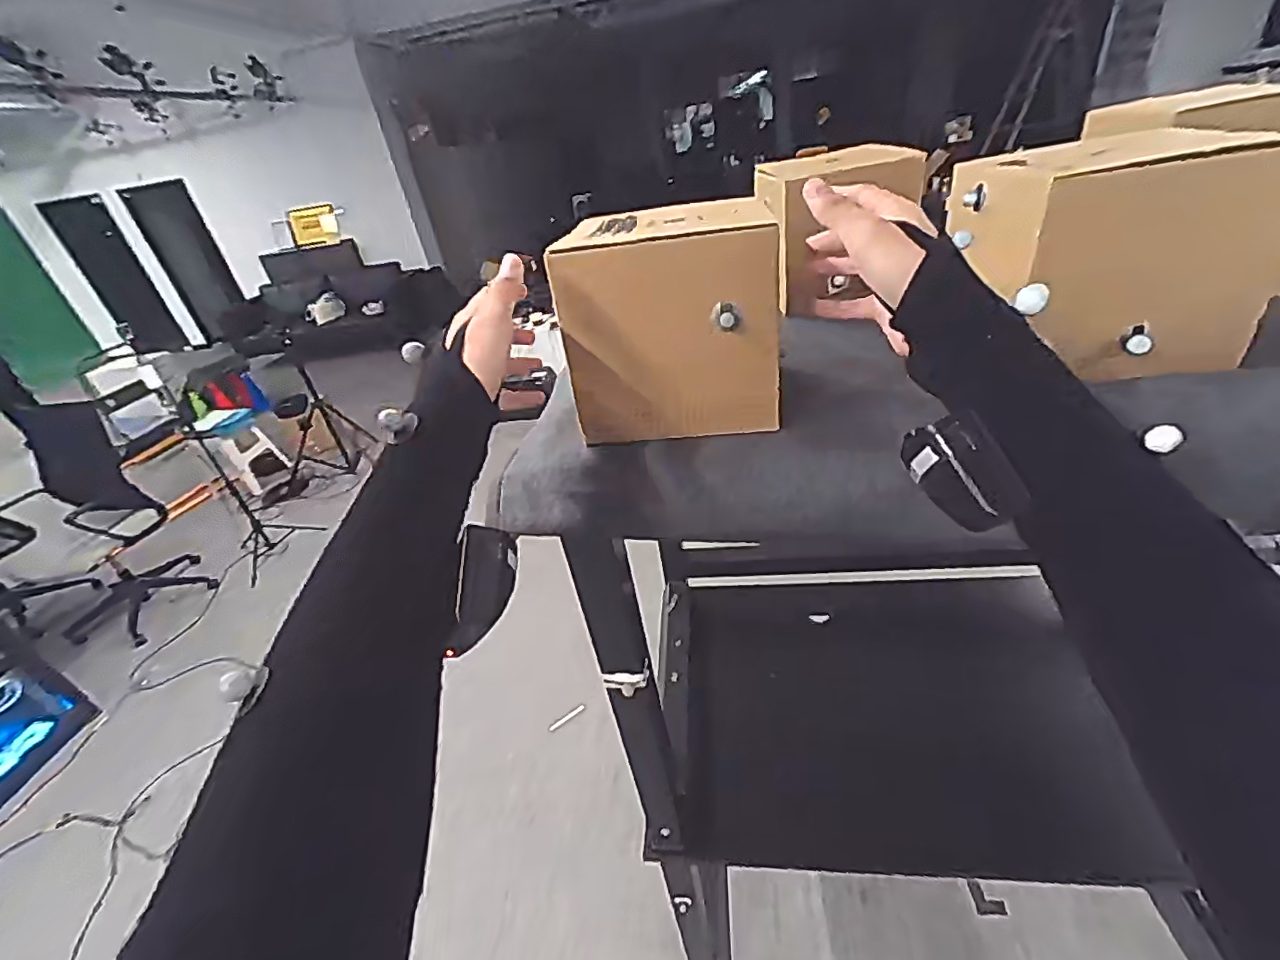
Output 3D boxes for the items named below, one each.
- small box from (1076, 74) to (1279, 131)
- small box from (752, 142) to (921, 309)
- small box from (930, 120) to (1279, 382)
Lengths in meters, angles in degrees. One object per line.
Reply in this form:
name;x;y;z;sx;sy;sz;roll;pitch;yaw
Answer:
small box;0.678;-0.393;0.682;0.179;0.176;0.168;-5;34;9
small box;0.250;-0.344;0.730;0.168;0.176;0.179;-9;32;4
small box;0.377;-0.195;0.462;0.179;0.176;0.168;-4;32;8
